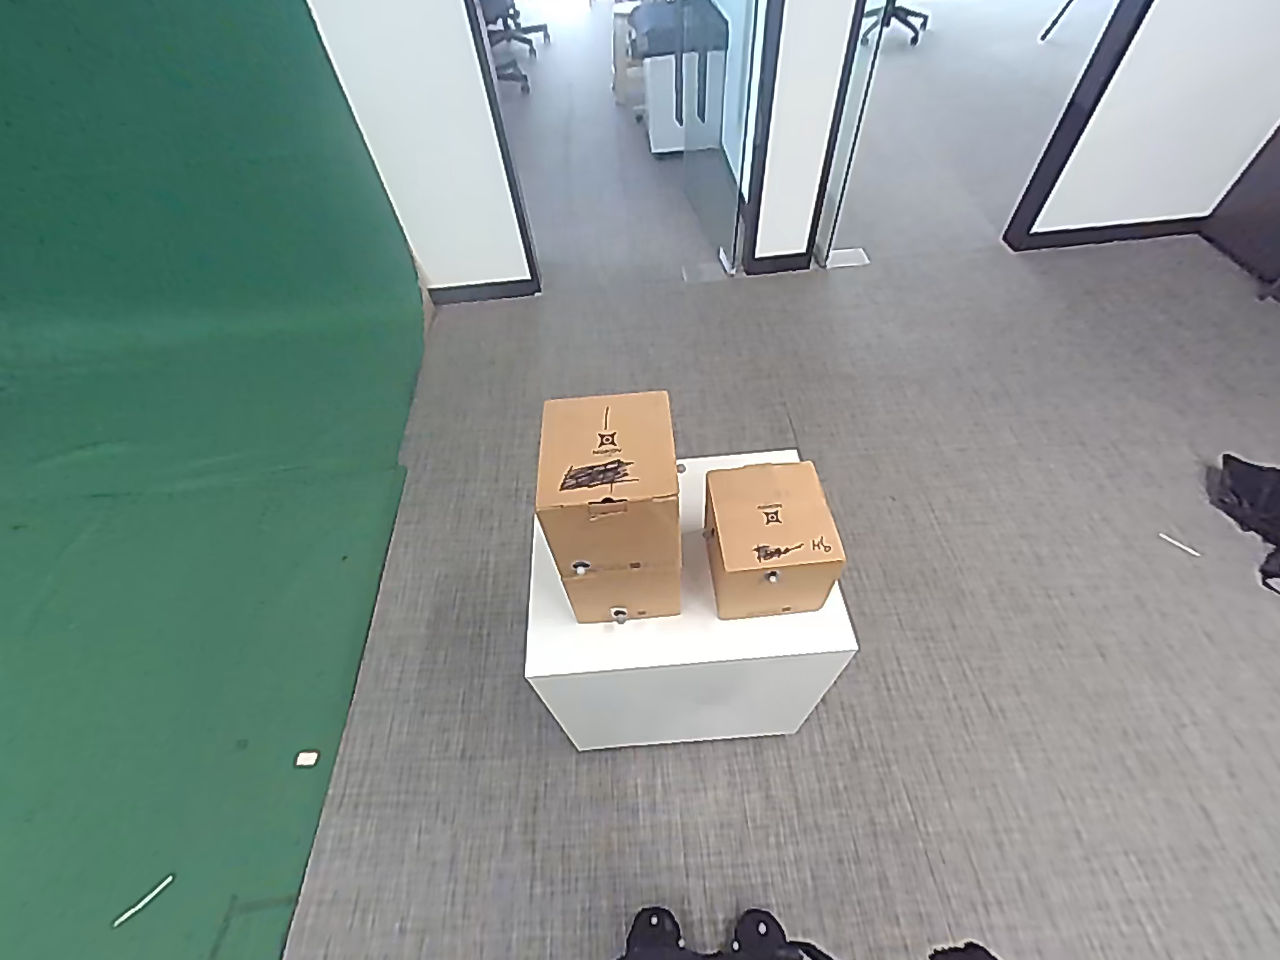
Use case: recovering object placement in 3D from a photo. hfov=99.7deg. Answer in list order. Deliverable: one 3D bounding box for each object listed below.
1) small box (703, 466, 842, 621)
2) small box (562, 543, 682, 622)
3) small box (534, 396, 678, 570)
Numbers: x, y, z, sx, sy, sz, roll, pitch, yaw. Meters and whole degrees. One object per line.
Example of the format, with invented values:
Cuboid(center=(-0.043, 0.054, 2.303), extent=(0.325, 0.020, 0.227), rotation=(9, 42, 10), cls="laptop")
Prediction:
Cuboid(center=(0.192, 0.100, 0.847), extent=(0.168, 0.176, 0.179), rotation=(-5, 51, 0), cls="small box")
Cuboid(center=(-0.028, 0.102, 0.846), extent=(0.168, 0.176, 0.179), rotation=(-7, 53, 0), cls="small box")
Cuboid(center=(-0.037, 0.011, 0.729), extent=(0.168, 0.176, 0.179), rotation=(-4, 51, 2), cls="small box")
